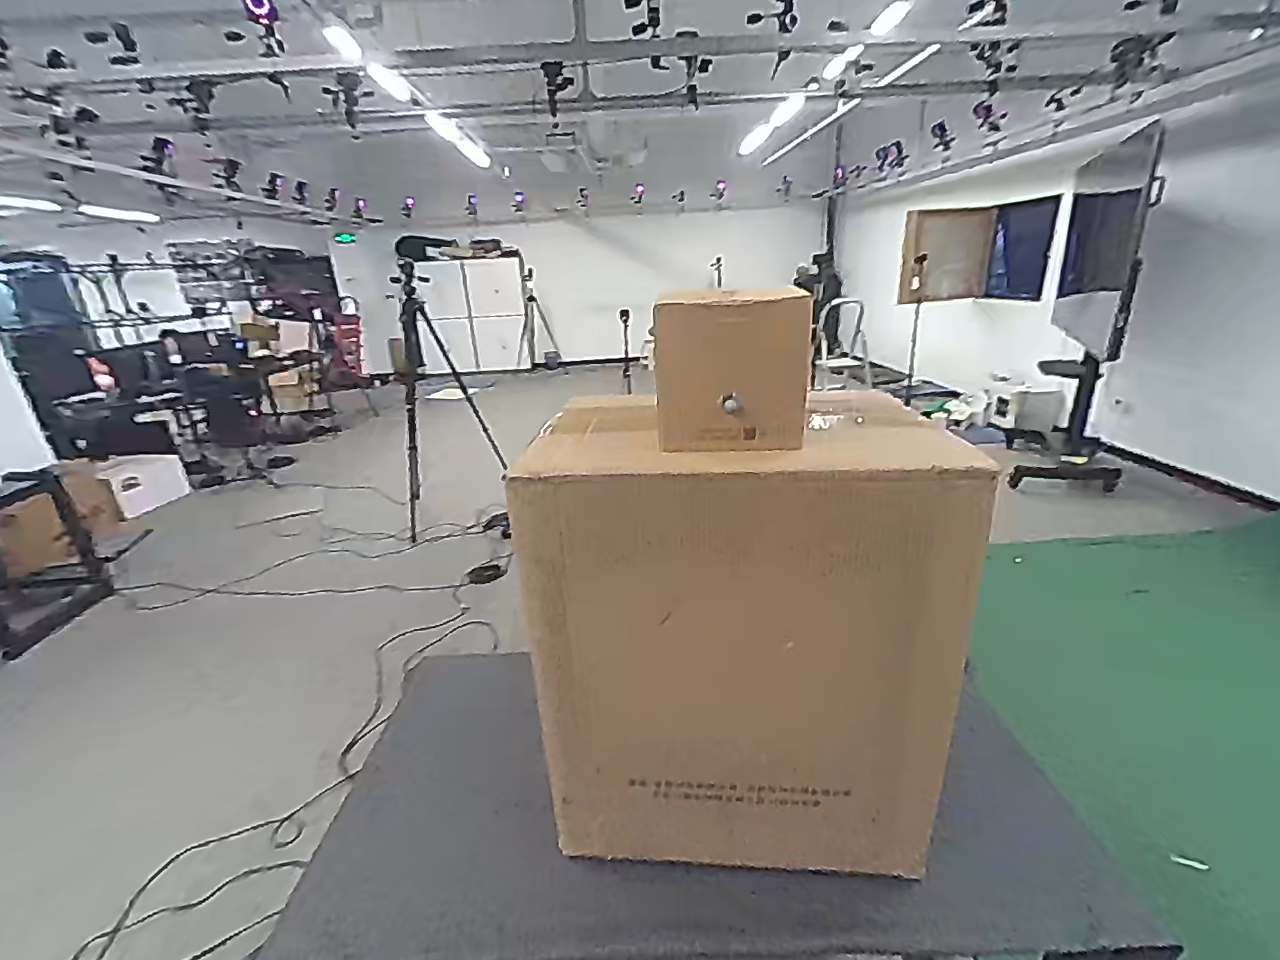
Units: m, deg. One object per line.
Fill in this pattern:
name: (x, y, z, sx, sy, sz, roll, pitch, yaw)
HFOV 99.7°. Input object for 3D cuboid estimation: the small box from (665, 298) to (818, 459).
small box: (0.119, -0.134, 0.682, 0.168, 0.176, 0.179, 0, 23, 7)
